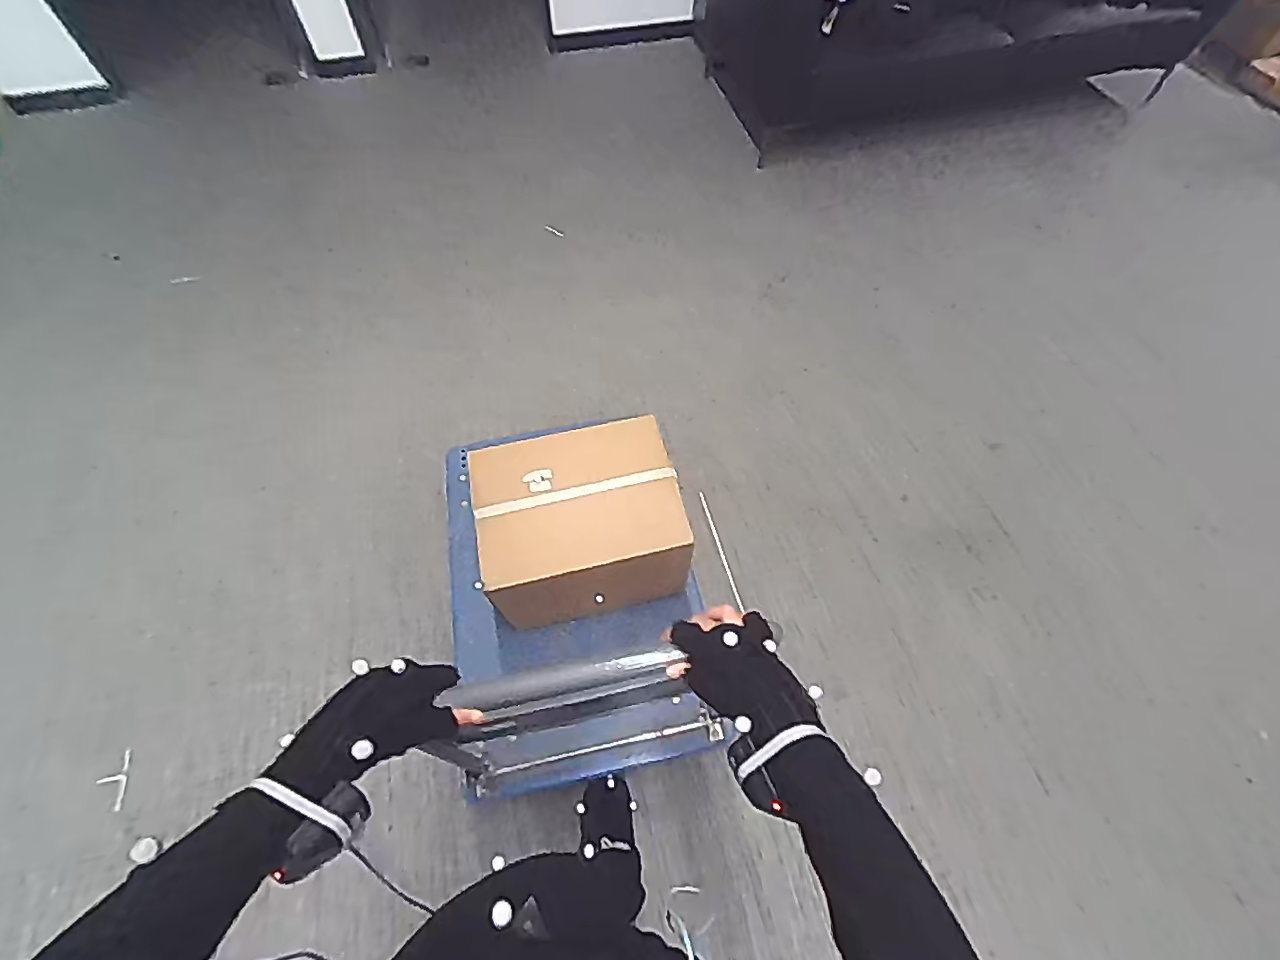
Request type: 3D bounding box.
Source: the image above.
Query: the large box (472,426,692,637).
[{"bbox_3d":[-0.123,0.126,1.220,0.408,0.320,0.320,-13,60,-6],"label":"large box"}]
